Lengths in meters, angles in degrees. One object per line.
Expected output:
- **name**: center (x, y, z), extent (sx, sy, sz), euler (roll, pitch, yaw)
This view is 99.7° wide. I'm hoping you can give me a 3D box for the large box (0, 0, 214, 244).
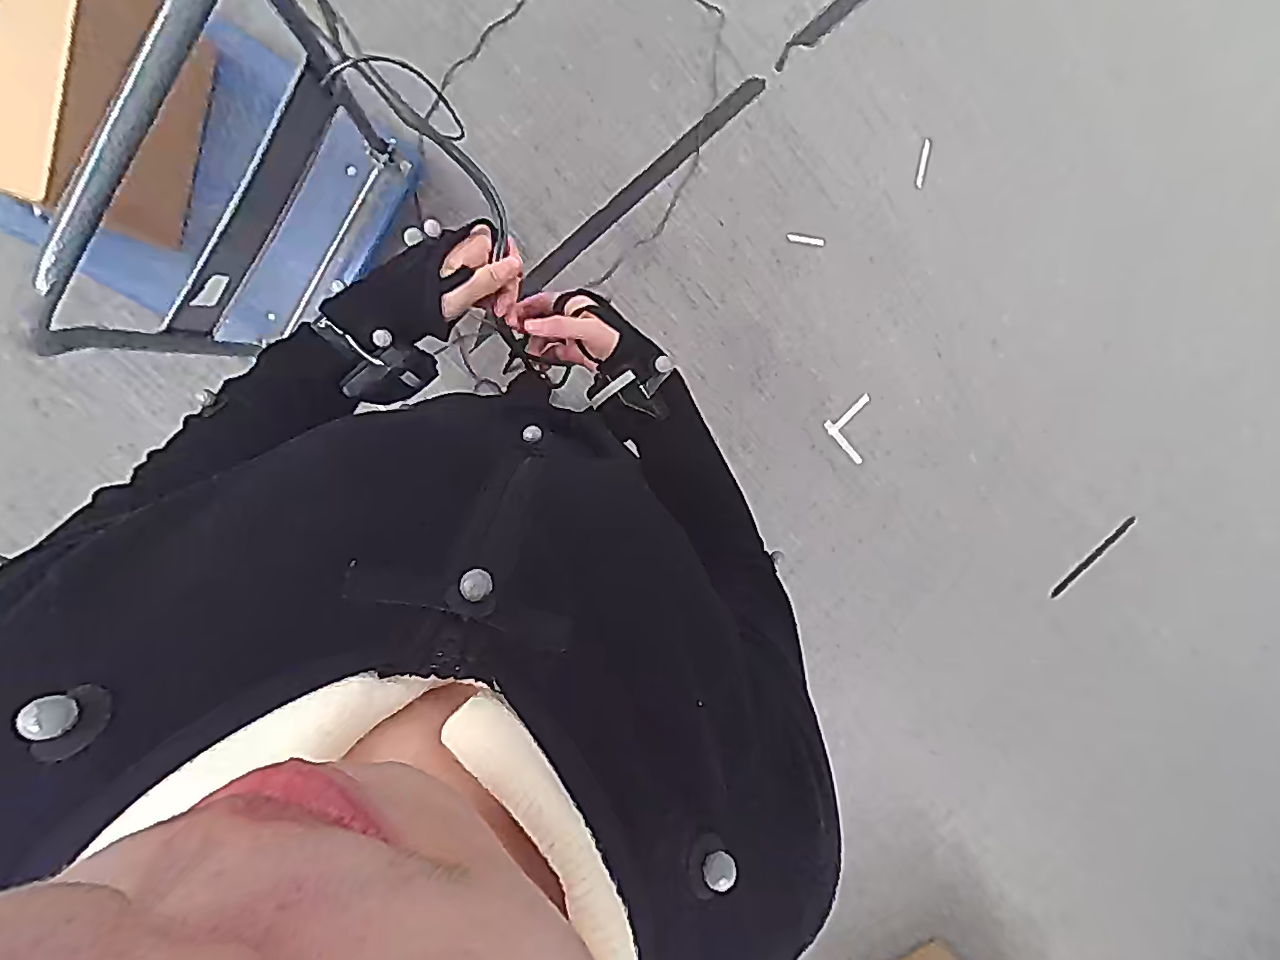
- **large box**: center (-1.003, -0.677, 0.906), extent (0.320, 0.320, 0.408), euler (16, 97, -12)
